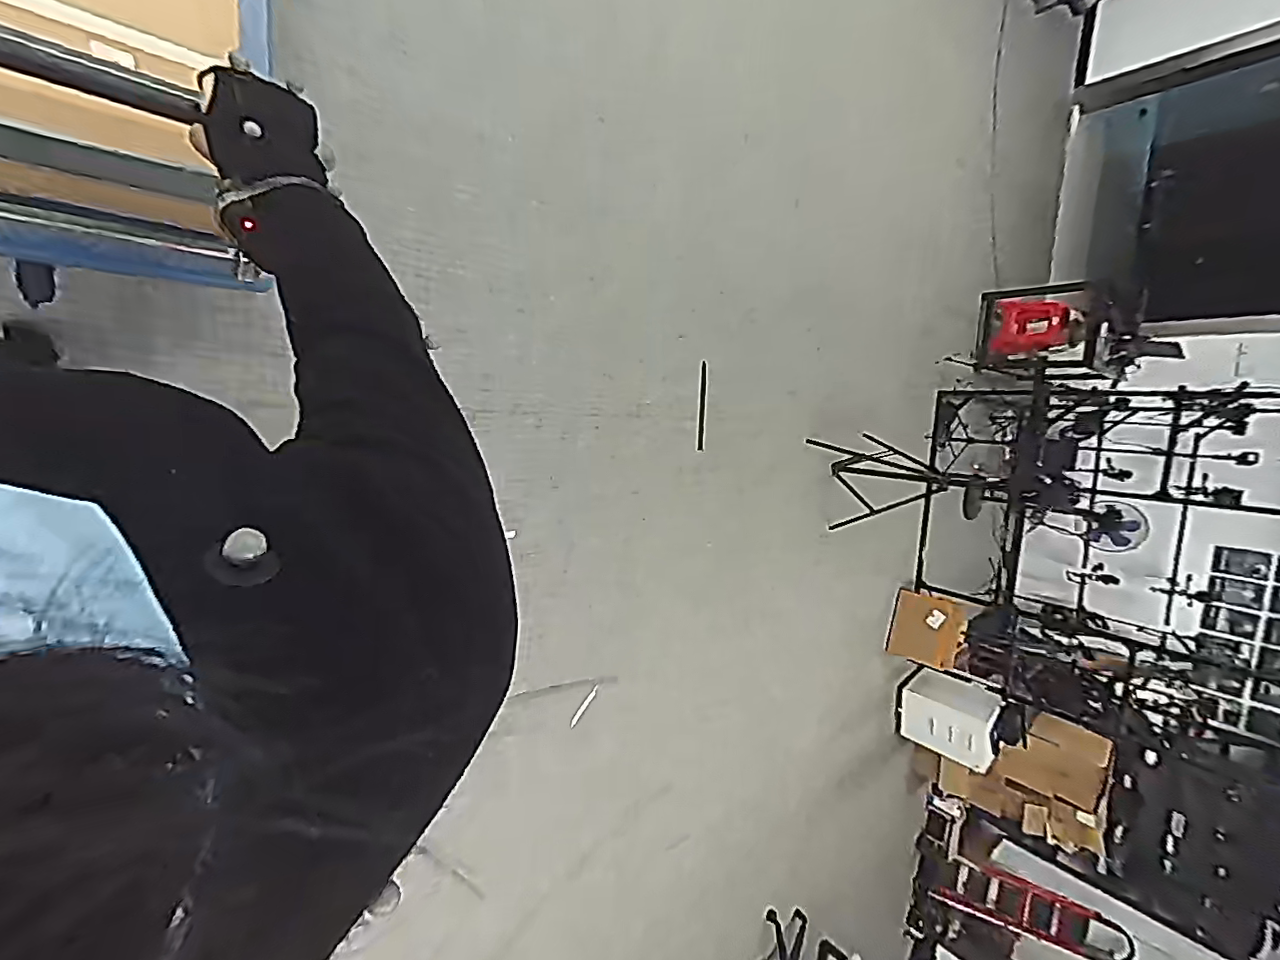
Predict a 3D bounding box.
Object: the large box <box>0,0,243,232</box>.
[{"bbox_3d":[-0.832,-0.584,0.756,0.408,0.320,0.320,-3,100,-43],"label":"large box"}]
